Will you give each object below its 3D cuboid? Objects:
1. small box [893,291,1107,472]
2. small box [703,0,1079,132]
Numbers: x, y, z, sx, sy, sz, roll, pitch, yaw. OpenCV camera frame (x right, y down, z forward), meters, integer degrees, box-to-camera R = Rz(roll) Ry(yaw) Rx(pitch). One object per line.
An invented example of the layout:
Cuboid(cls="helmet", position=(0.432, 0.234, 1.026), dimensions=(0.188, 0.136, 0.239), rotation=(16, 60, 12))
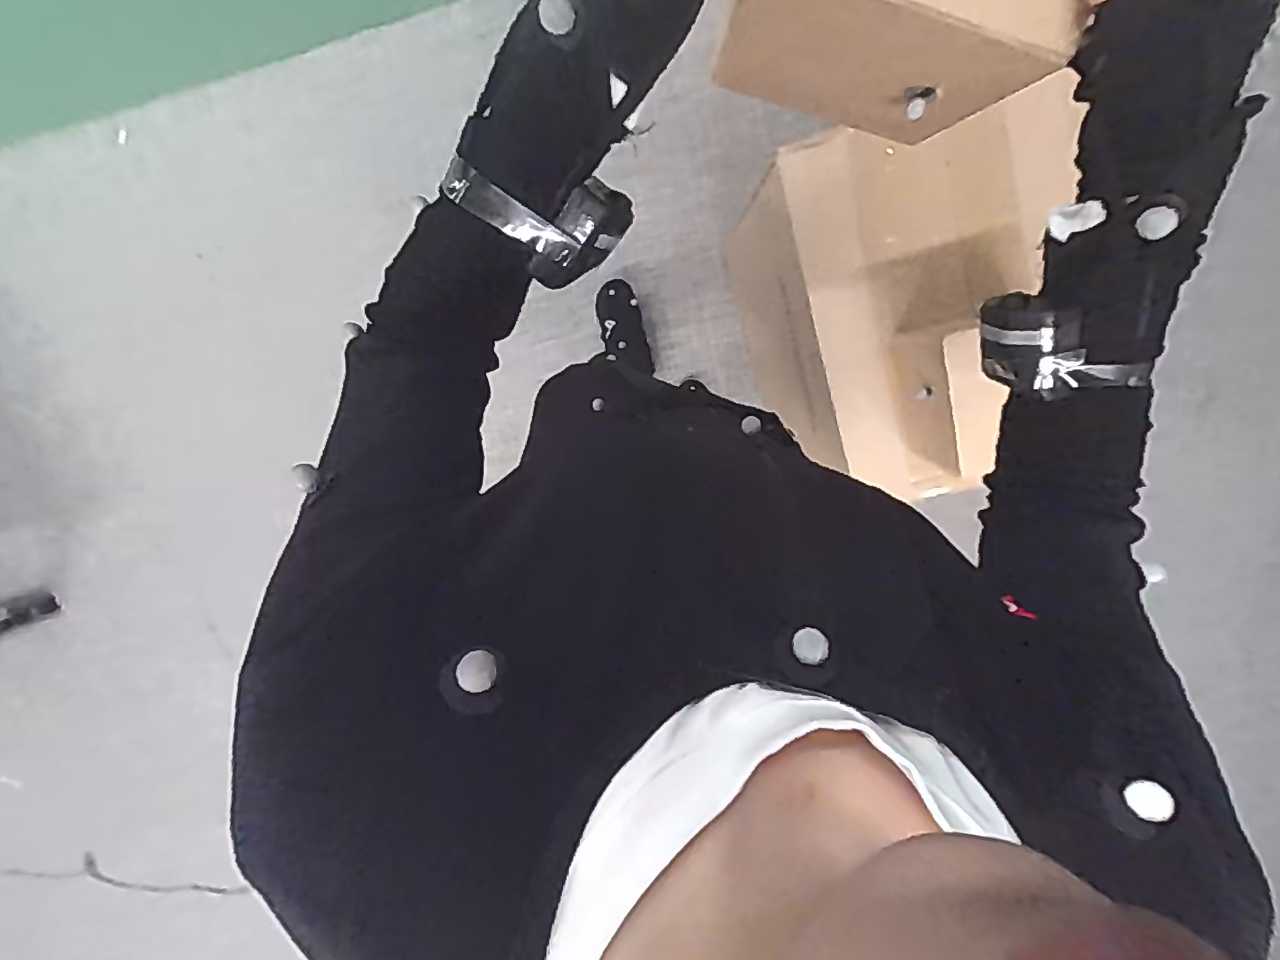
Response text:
Cuboid(cls="small box", position=(0.444, -0.124, 0.693), dimensions=(0.168, 0.176, 0.179), rotation=(-13, 101, 10))
Cuboid(cls="small box", position=(0.150, -0.340, 0.329), dimensions=(0.179, 0.176, 0.168), rotation=(10, 106, -5))
